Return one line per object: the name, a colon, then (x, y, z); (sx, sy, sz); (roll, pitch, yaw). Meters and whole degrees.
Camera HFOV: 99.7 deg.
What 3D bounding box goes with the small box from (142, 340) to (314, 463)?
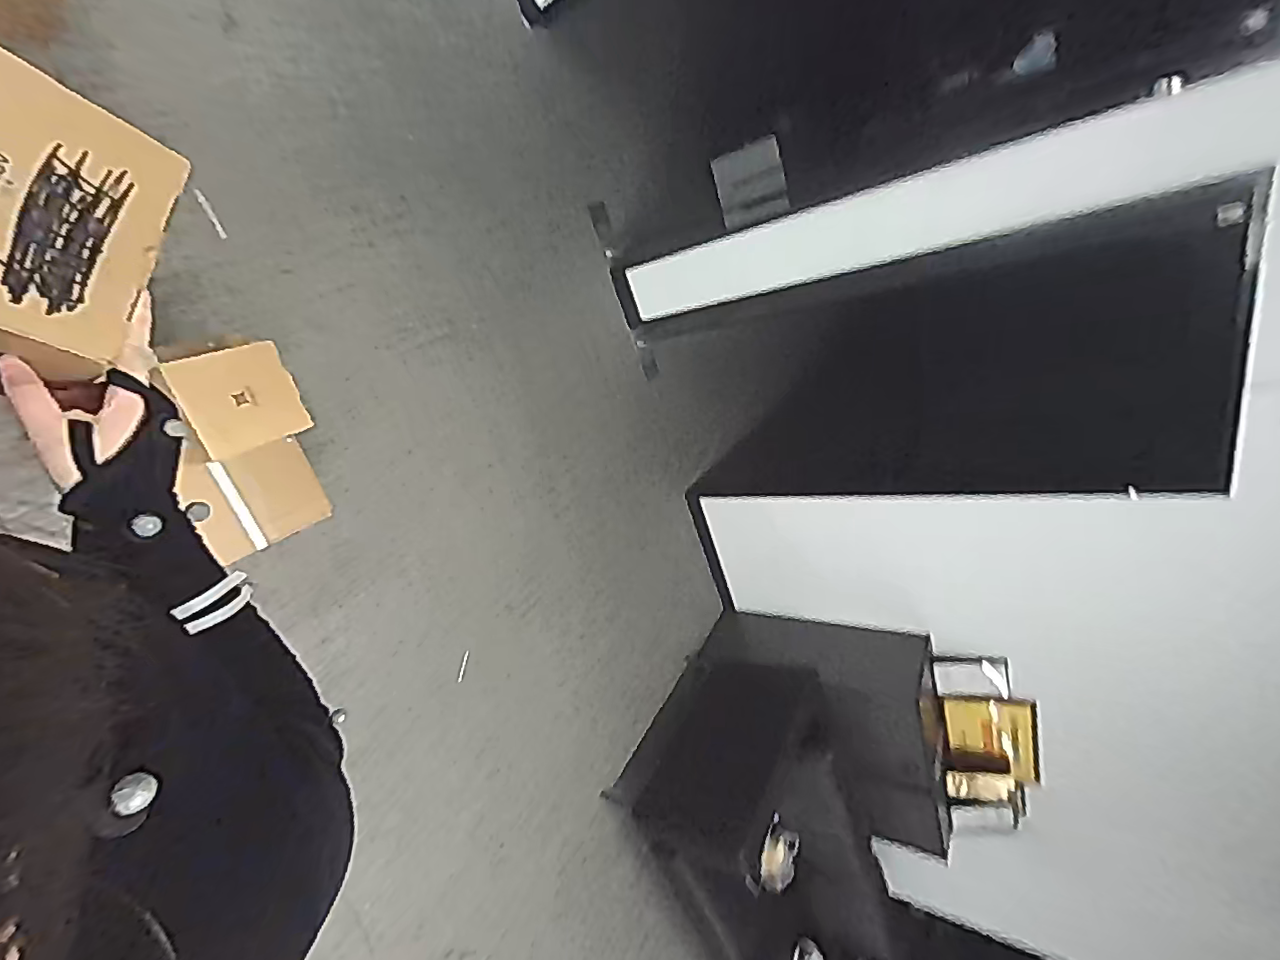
small box: (-0.737, -0.137, 0.965); (0.179, 0.176, 0.168); (-40, 120, -49)
